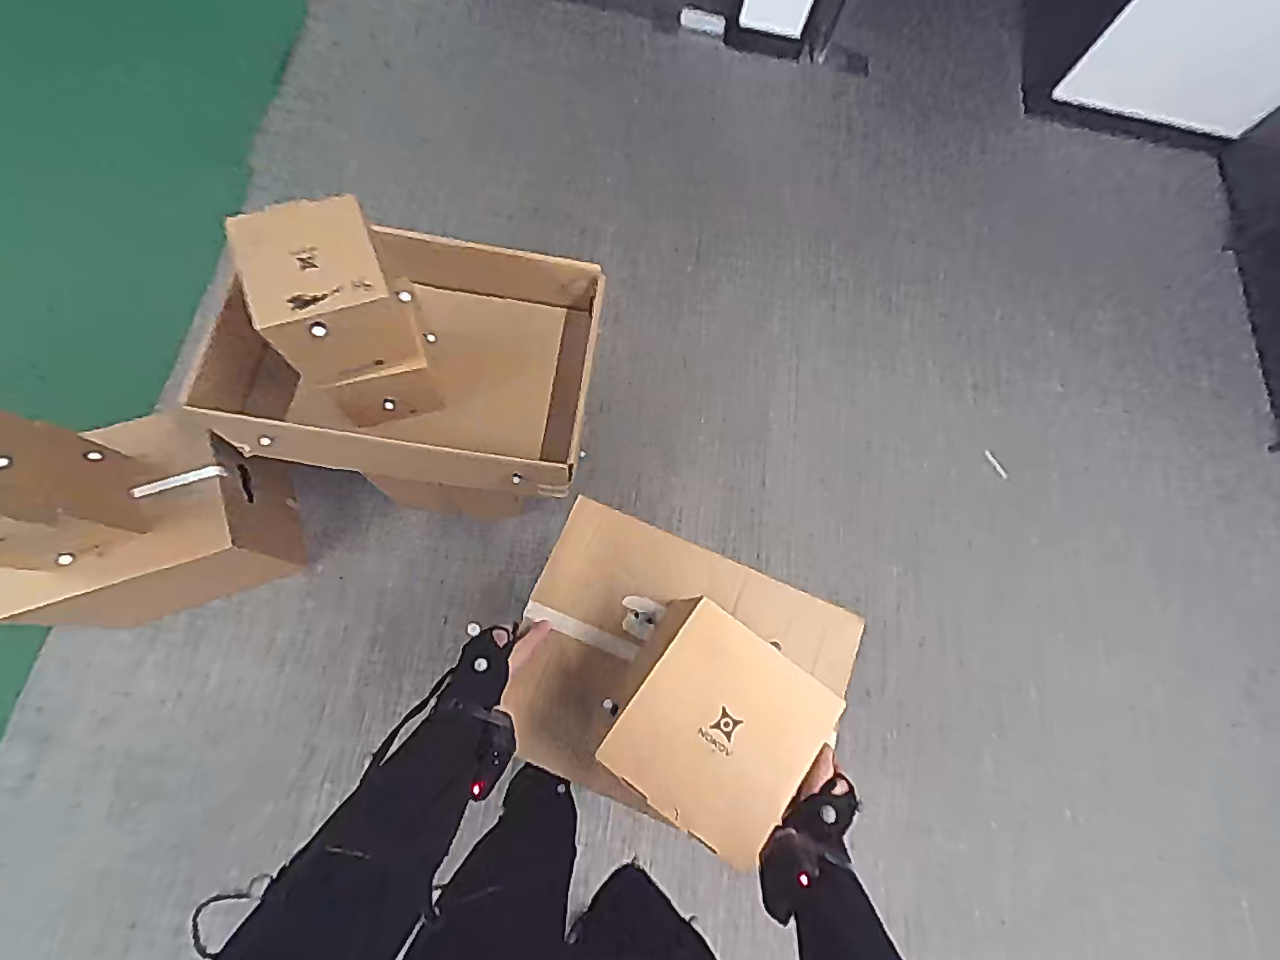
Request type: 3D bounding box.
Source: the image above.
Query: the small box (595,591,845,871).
[{"bbox_3d":[0.067,0.233,0.557,0.168,0.176,0.179,37,78,4],"label":"small box"}]

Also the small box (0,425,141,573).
[{"bbox_3d":[-1.000,0.039,0.905,0.168,0.176,0.179,-23,78,-12],"label":"small box"}]

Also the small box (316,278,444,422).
[{"bbox_3d":[-0.452,-0.214,0.938,0.168,0.176,0.179,-14,76,-12],"label":"small box"}]

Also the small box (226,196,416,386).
[{"bbox_3d":[-0.448,-0.265,0.782,0.168,0.176,0.179,-20,77,-13],"label":"small box"}]

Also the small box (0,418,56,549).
[{"bbox_3d":[-0.977,0.004,0.746,0.168,0.176,0.179,-18,78,-11],"label":"small box"}]

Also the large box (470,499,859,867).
[{"bbox_3d":[0.034,0.268,0.798,0.408,0.320,0.320,23,74,3],"label":"large box"}]
